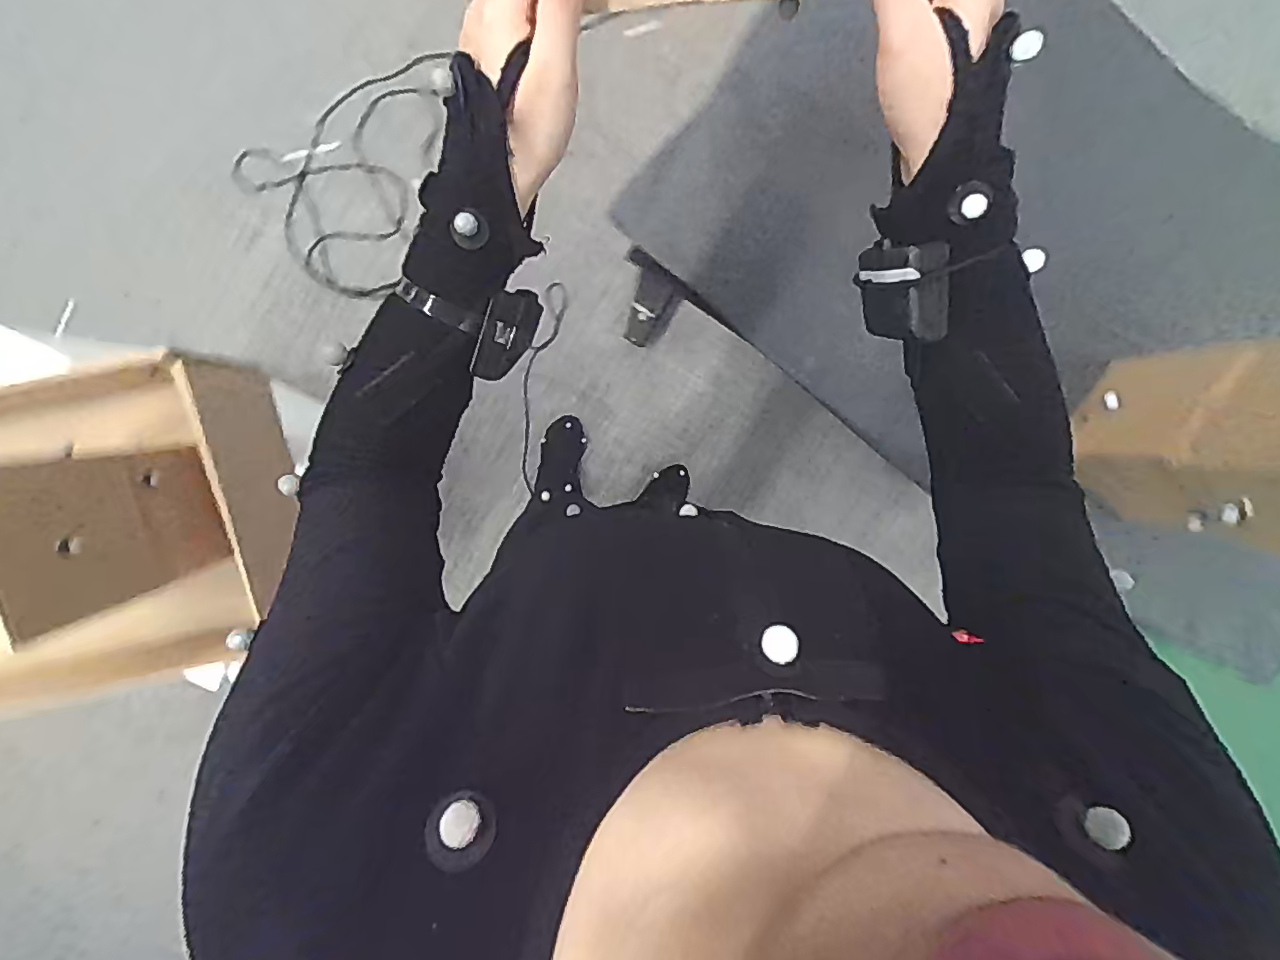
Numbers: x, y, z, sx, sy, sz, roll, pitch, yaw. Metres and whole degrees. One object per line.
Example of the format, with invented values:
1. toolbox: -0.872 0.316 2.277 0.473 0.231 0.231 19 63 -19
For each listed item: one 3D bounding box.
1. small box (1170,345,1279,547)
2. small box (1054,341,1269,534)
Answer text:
1. small box: 0.718 -0.033 0.546 0.168 0.176 0.179 38 93 -6
2. small box: 0.711 -0.056 0.707 0.179 0.176 0.168 37 92 -7
